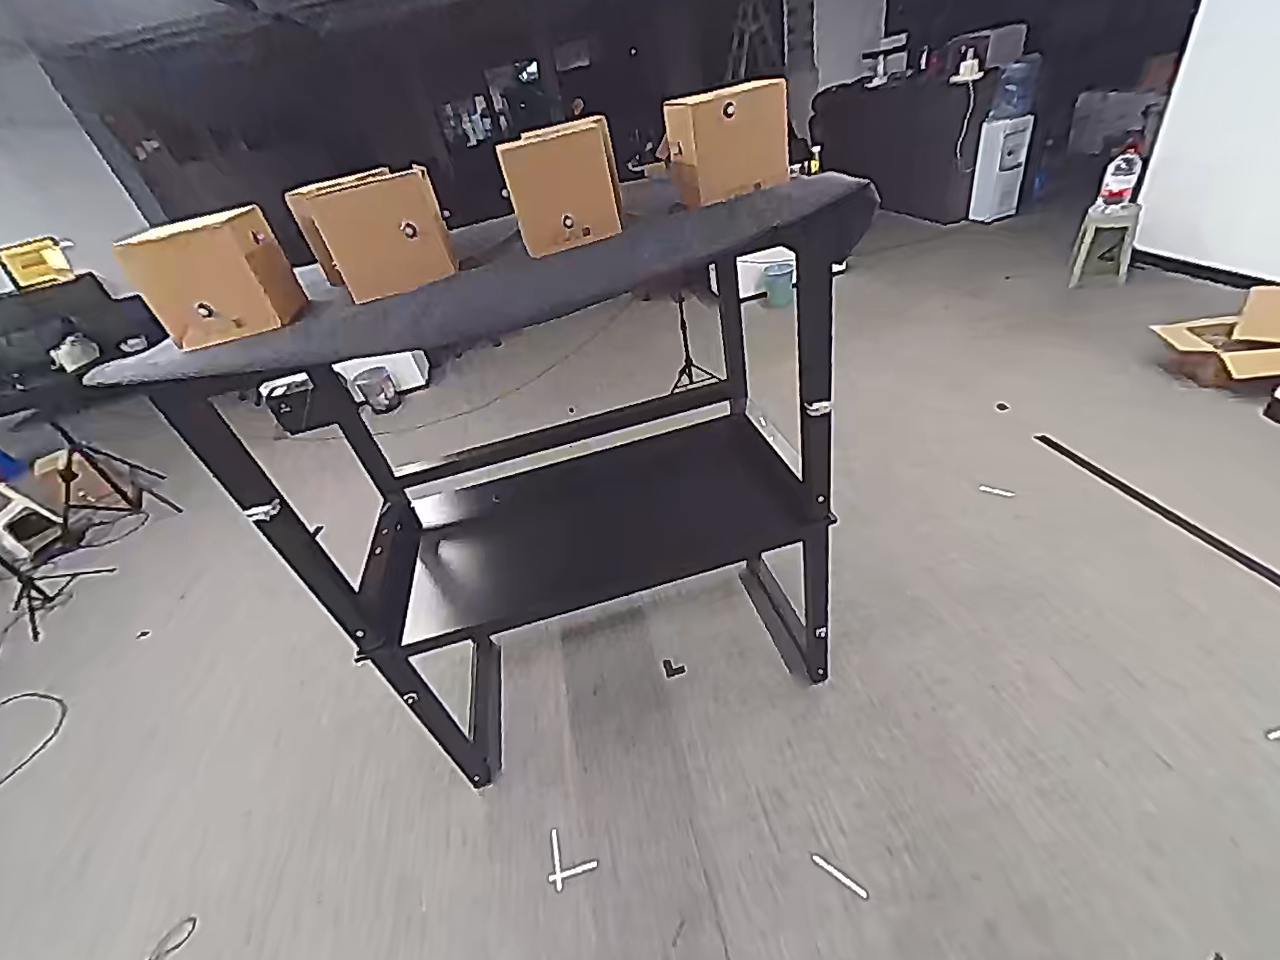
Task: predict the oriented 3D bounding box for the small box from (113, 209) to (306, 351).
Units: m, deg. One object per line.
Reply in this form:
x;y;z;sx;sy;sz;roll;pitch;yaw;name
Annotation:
-0.698;-0.336;0.907;0.168;0.176;0.179;-18;36;-7;small box

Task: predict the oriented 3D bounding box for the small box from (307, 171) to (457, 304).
-0.430;-0.422;0.937;0.179;0.176;0.168;-16;33;-7;small box

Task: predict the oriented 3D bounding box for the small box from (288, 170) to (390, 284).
-0.574;-0.518;1.113;0.168;0.176;0.179;-16;35;-3;small box

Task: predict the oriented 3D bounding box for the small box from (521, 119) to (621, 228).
-0.146;-0.645;1.141;0.168;0.176;0.179;-16;35;-2;small box
